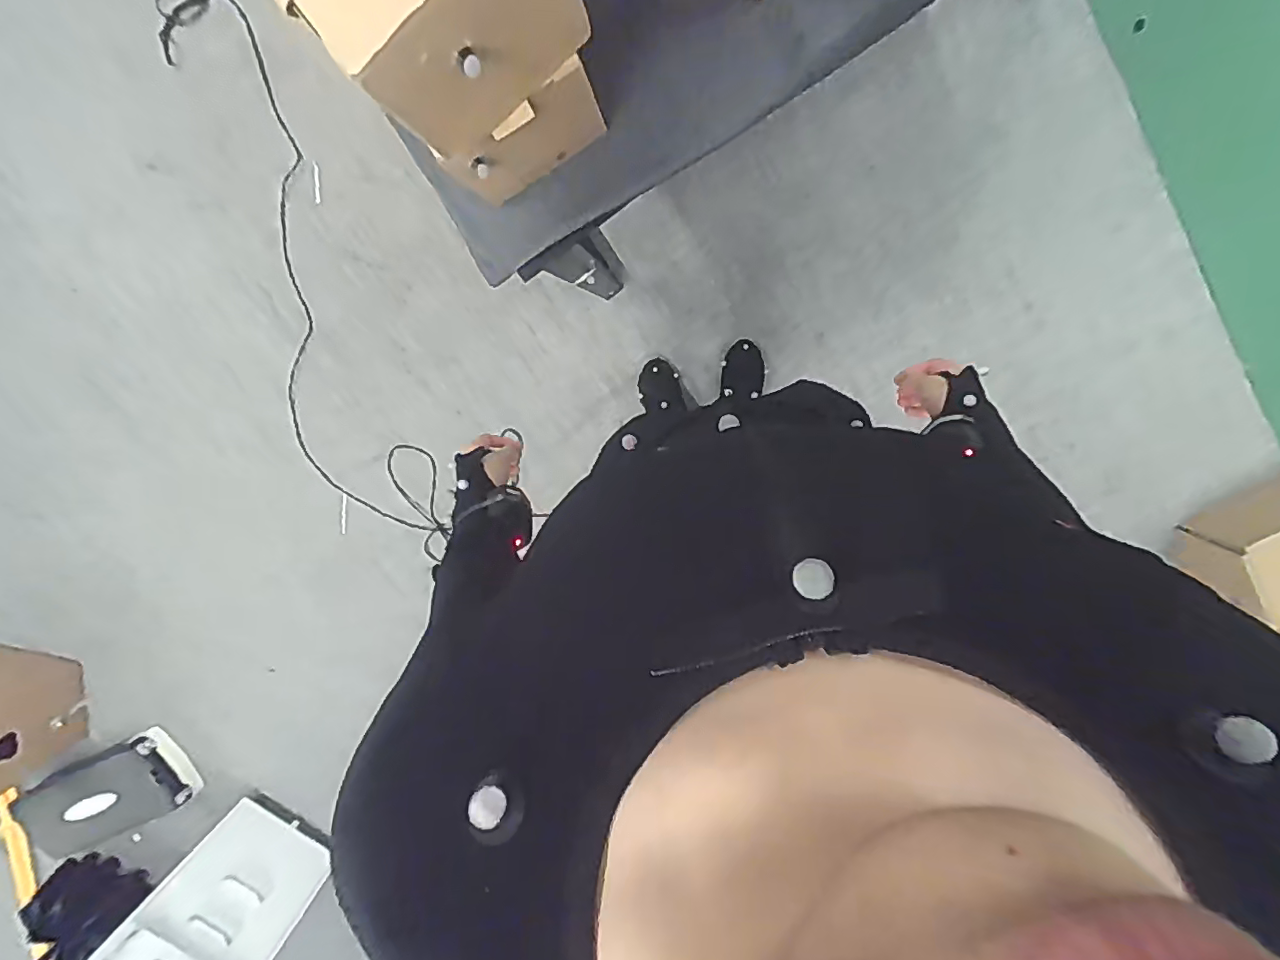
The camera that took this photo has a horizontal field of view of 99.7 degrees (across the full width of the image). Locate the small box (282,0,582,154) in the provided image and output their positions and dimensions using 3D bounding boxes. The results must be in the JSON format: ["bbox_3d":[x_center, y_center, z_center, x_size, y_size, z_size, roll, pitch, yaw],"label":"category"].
[{"bbox_3d":[-0.168,-0.395,0.412,0.179,0.176,0.168,-36,98,12],"label":"small box"}]
